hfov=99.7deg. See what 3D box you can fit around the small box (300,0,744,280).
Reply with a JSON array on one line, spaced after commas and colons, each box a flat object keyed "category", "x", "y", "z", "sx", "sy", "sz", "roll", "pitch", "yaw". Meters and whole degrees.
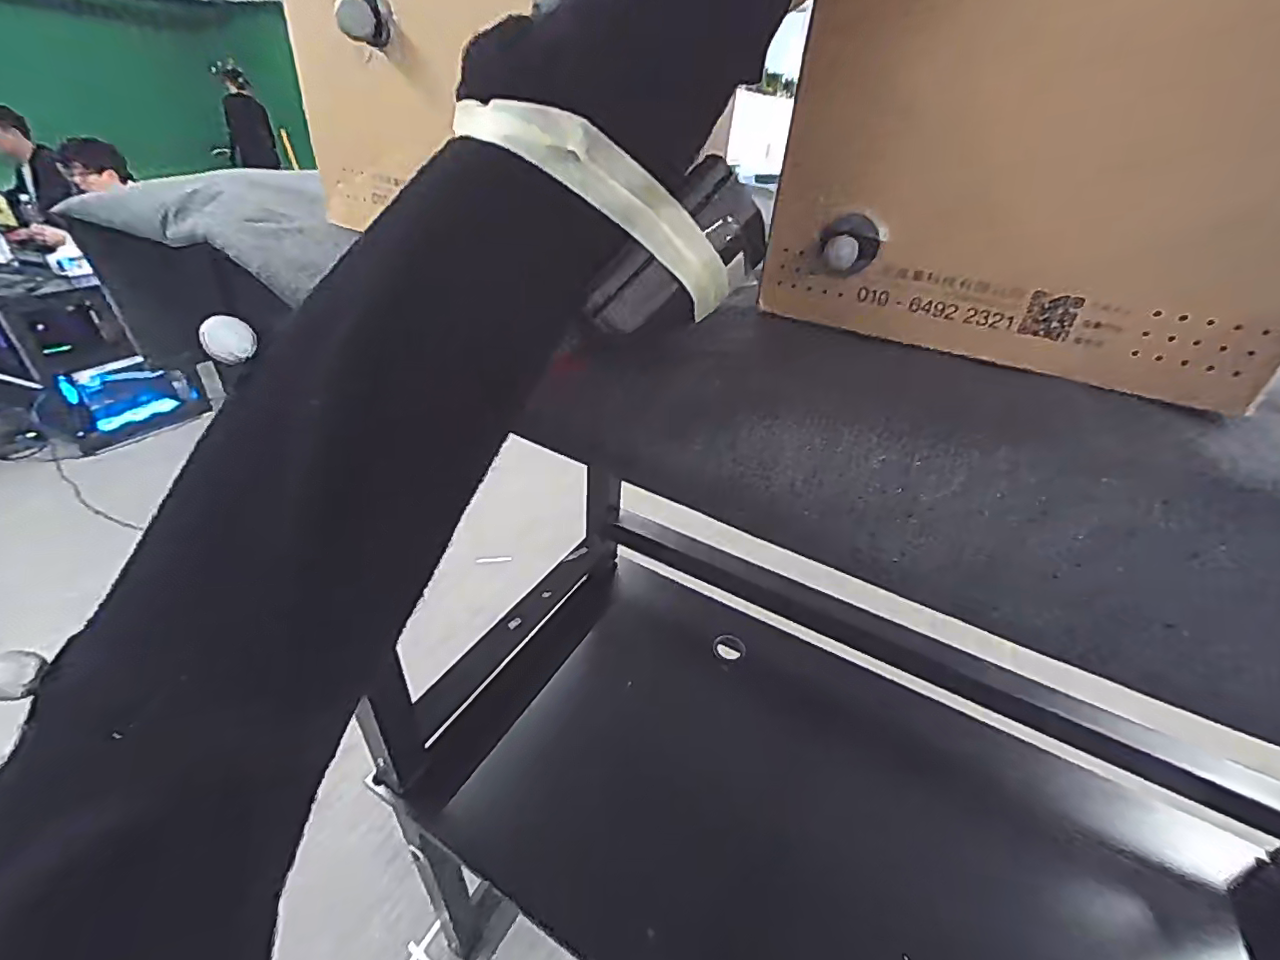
[{"category": "small box", "x": -0.052, "y": -0.216, "z": 0.293, "sx": 0.168, "sy": 0.176, "sz": 0.179, "roll": 21, "pitch": 35, "yaw": 21}]
